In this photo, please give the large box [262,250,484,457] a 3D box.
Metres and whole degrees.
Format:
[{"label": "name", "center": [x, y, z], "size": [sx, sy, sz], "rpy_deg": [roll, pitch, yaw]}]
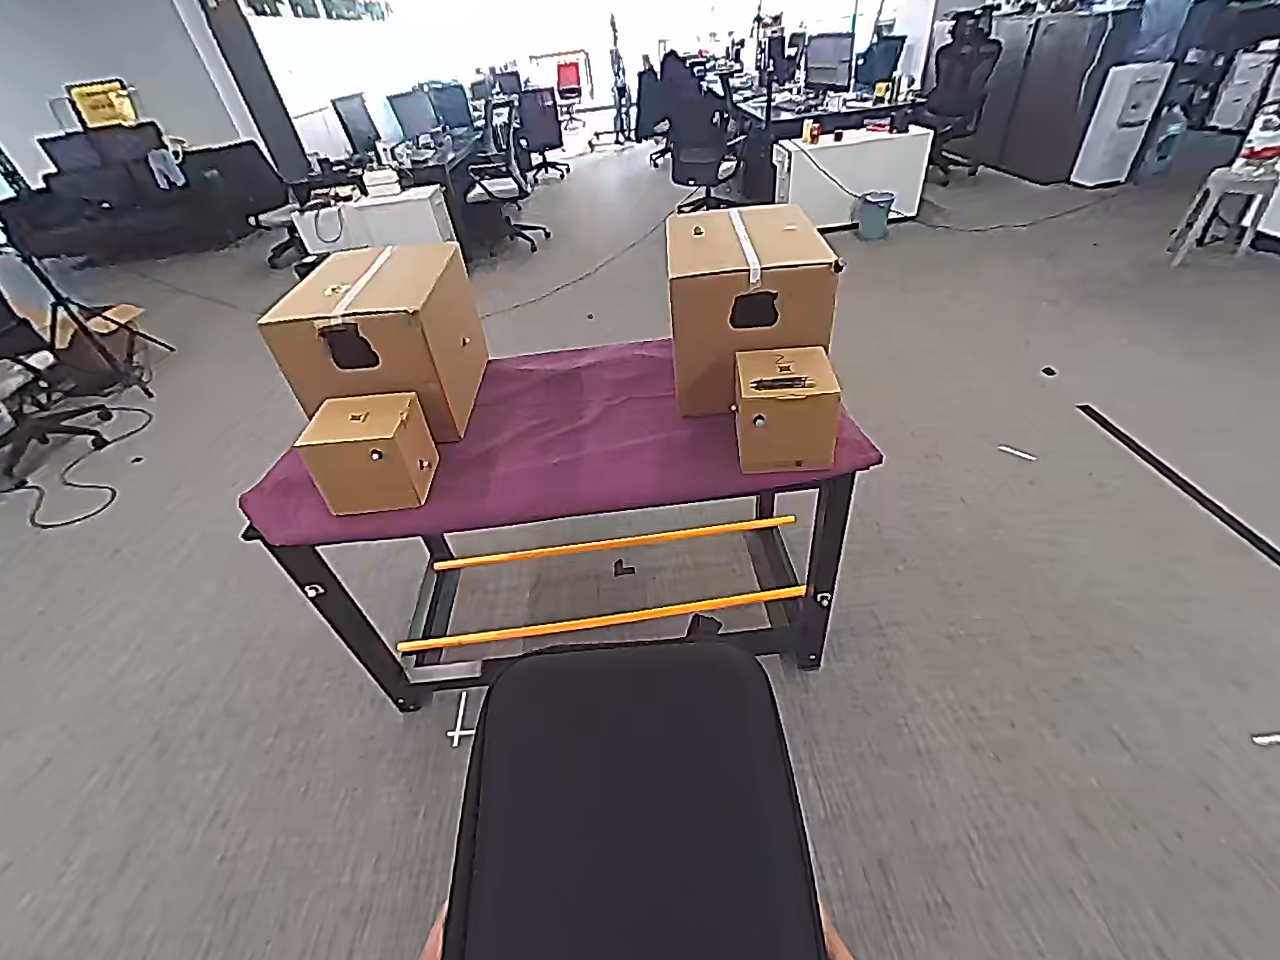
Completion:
[{"label": "large box", "center": [-0.575, -0.306, 1.270], "size": [0.320, 0.320, 0.408], "rpy_deg": [-6, 42, 0]}]
